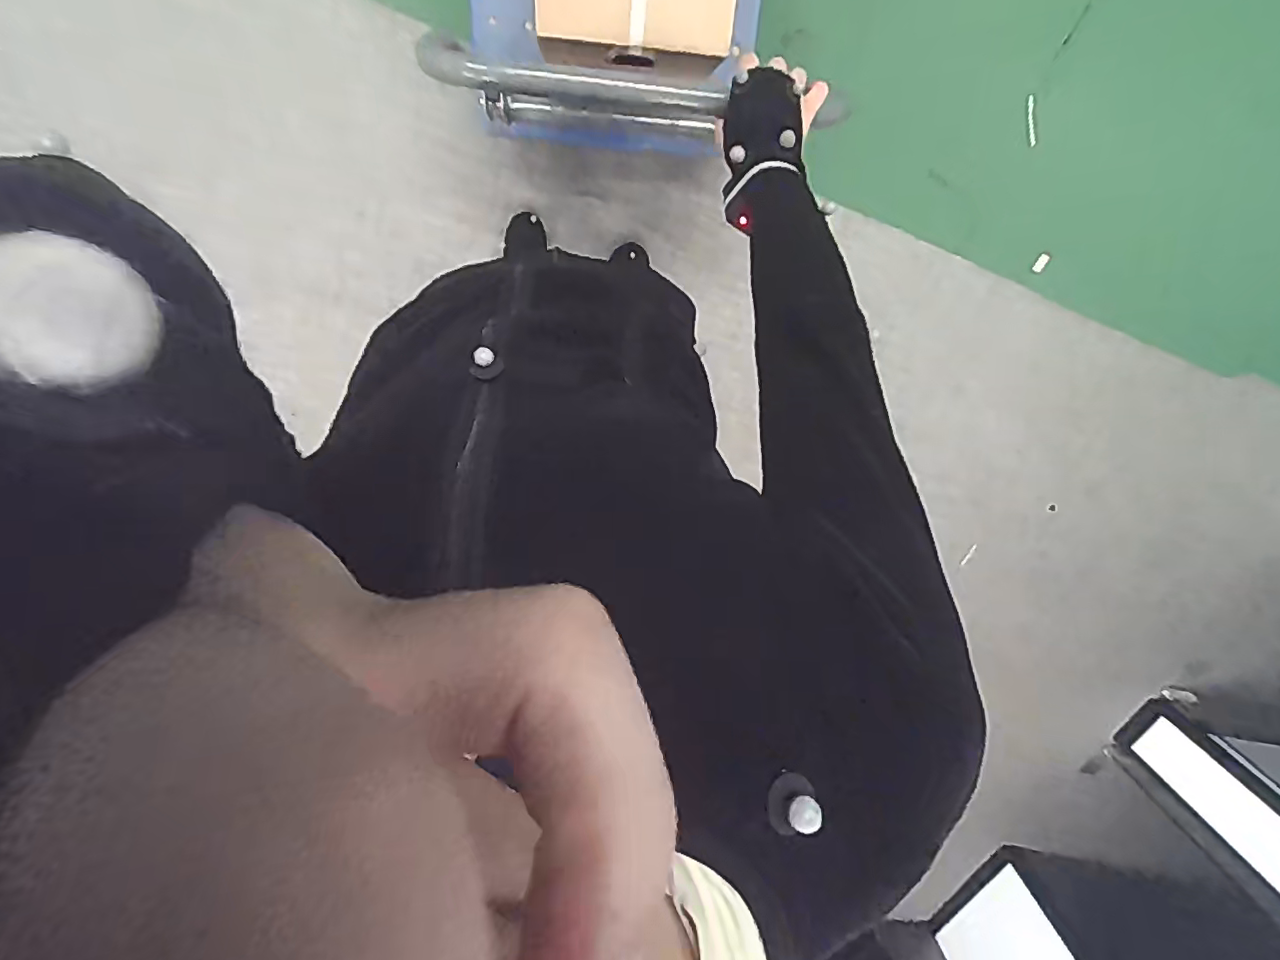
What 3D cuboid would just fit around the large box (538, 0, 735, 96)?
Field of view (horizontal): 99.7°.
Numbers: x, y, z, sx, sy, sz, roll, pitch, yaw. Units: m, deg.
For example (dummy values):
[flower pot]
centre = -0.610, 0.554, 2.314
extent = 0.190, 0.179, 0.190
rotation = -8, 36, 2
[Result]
[large box]
centre = -0.007, -0.932, 0.921
extent = 0.320, 0.320, 0.408
rotation = 1, 116, -7
